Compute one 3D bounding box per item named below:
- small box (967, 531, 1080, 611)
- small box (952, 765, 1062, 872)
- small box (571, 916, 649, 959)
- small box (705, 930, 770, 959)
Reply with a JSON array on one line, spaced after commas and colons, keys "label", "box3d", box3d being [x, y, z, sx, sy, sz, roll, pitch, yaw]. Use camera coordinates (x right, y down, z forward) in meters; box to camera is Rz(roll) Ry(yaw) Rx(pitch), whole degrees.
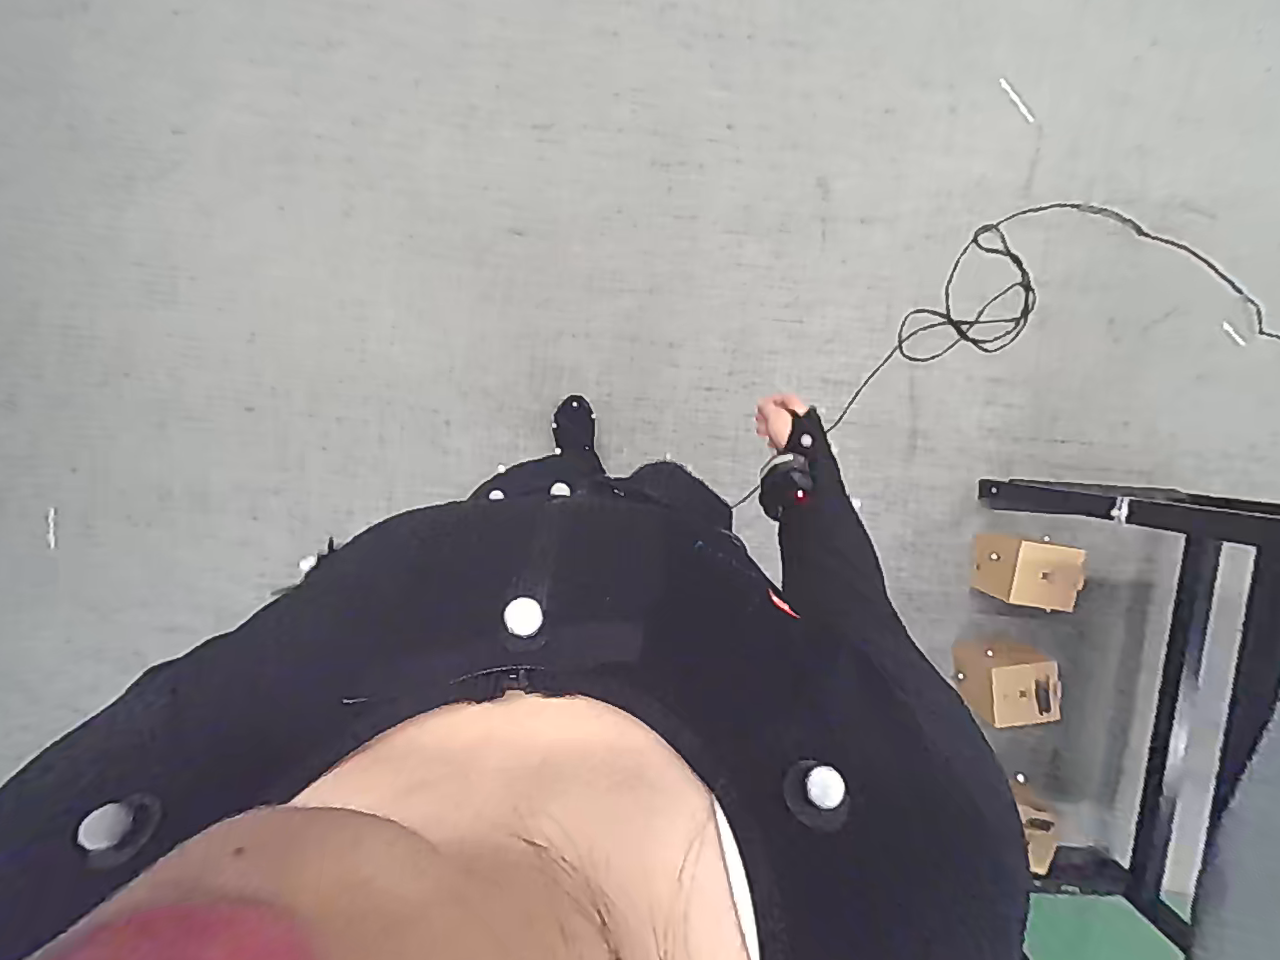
[{"label": "small box", "box3d": [1.023, 0.238, 1.458, 0.179, 0.176, 0.168, 8, 94, -3]}, {"label": "small box", "box3d": [1.019, 0.941, 1.519, 0.168, 0.176, 0.179, 17, 96, -3]}, {"label": "small box", "box3d": [-0.087, 1.387, 1.518, 0.179, 0.176, 0.168, 39, 94, -6]}, {"label": "small box", "box3d": [0.304, 1.451, 1.539, 0.168, 0.176, 0.179, -28, 96, 0]}]
